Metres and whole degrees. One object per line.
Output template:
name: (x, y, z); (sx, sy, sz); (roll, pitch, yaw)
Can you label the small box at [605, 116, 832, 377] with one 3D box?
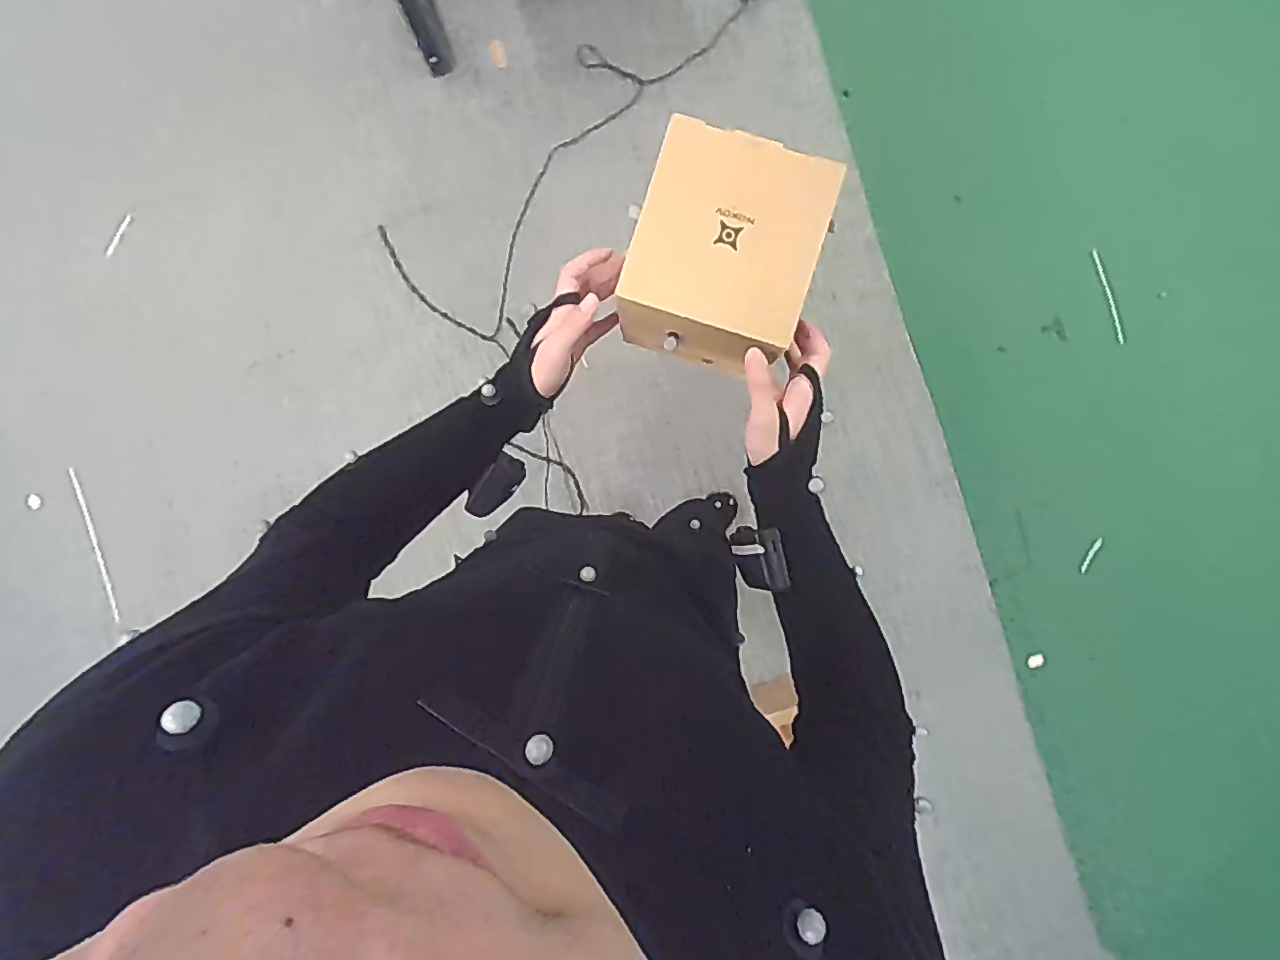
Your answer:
small box: (0.073, -0.222, 0.563); (0.168, 0.176, 0.179); (17, 89, 1)
